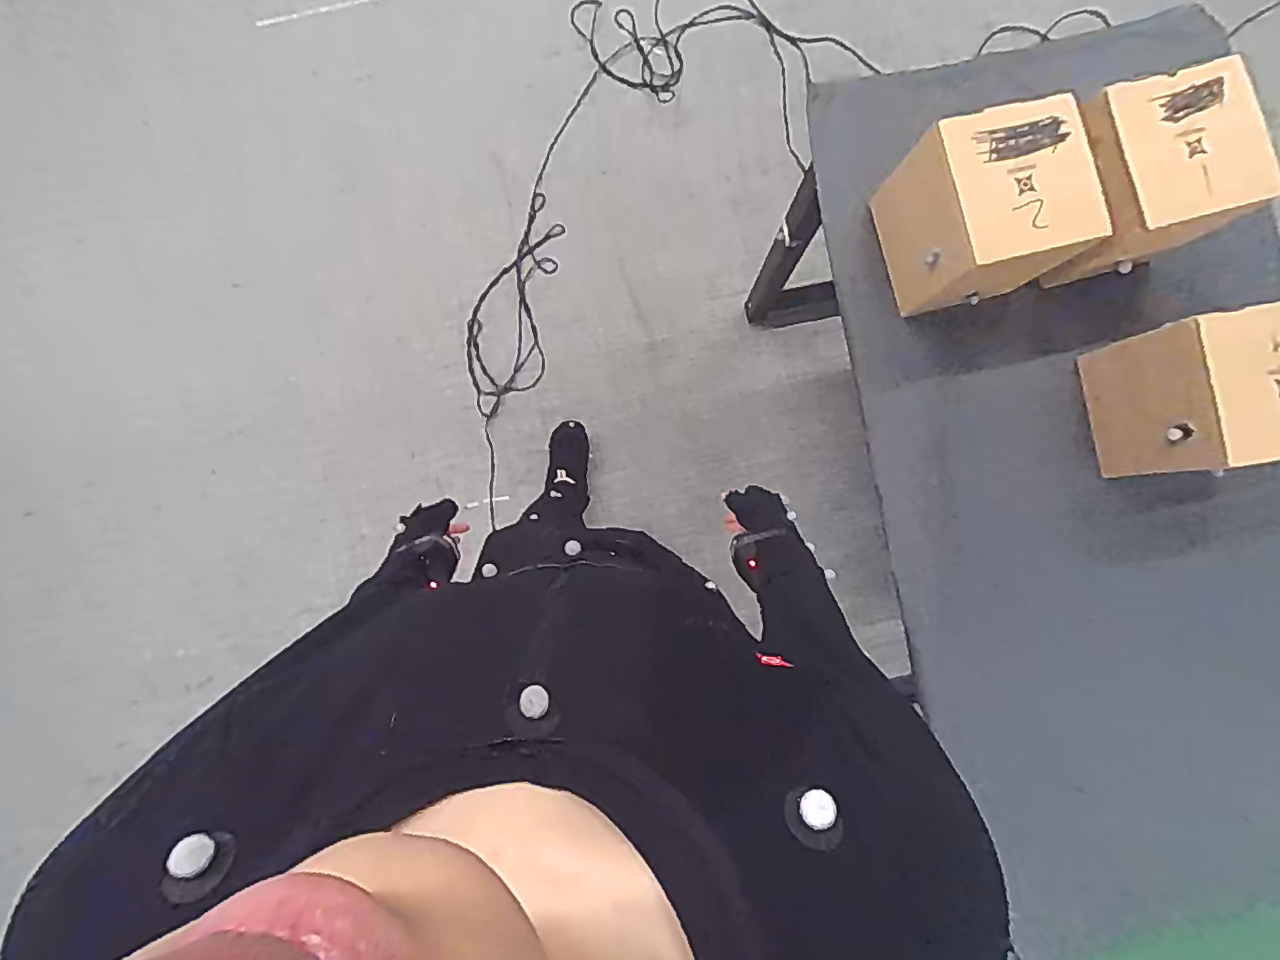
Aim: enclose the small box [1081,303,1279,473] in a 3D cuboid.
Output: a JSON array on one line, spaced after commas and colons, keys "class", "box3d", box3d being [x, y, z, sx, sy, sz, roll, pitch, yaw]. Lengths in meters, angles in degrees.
[{"class": "small box", "box3d": [0.706, -0.105, 0.674, 0.168, 0.176, 0.179, -9, 87, 0]}]
